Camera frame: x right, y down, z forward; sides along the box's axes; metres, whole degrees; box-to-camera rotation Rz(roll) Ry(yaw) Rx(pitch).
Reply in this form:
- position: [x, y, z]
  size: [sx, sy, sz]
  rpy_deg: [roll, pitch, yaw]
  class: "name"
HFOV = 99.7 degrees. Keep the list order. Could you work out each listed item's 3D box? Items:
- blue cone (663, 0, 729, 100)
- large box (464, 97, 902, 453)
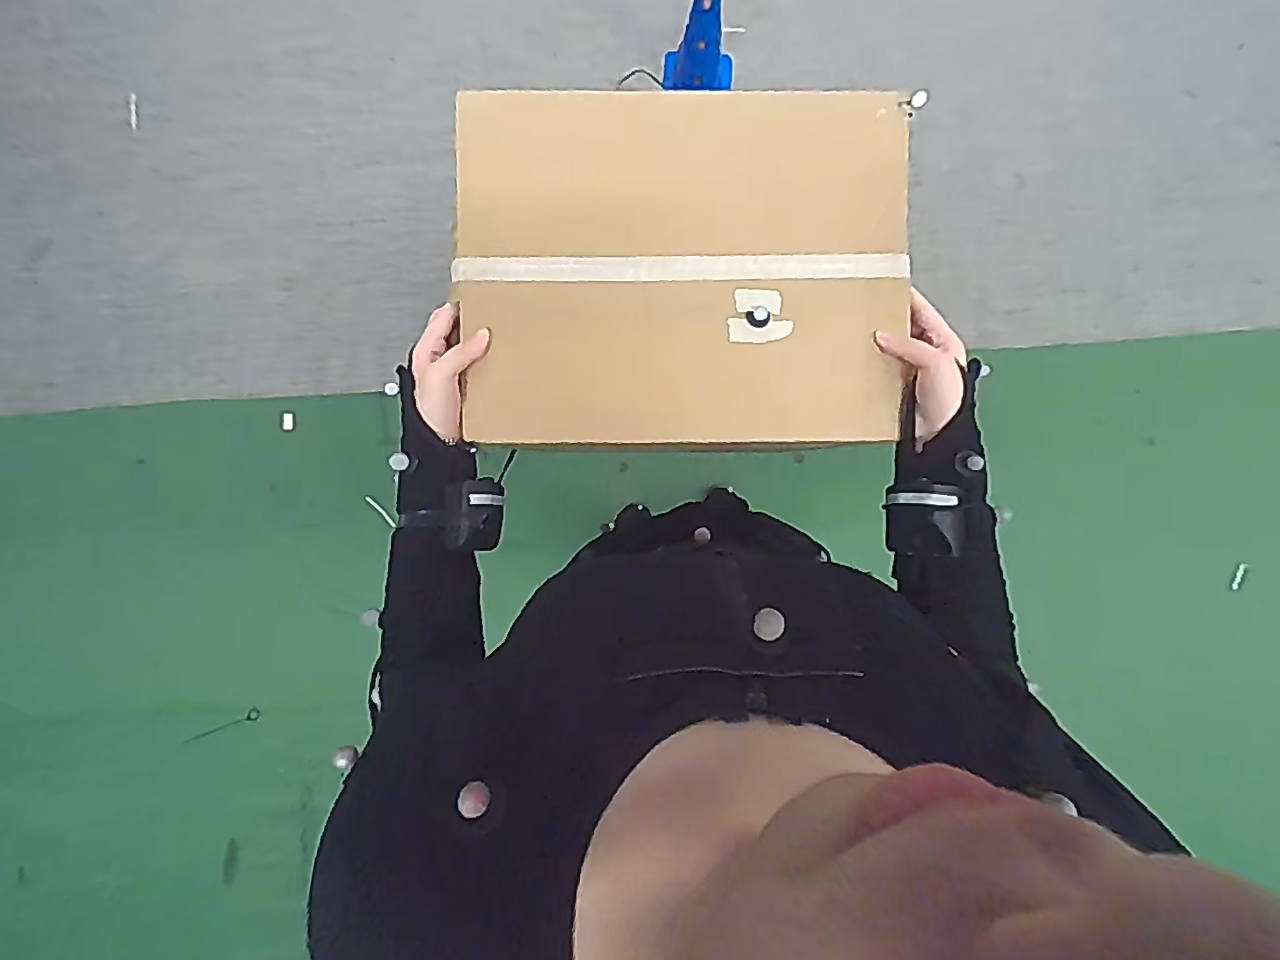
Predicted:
- position: [0.163, -1.142, 1.419]
  size: [0.193, 0.380, 0.192]
  rpy_deg: [5, 87, 1]
  class: "blue cone"
- position: [0.037, -0.197, 0.643]
  size: [0.408, 0.320, 0.320]
  rpy_deg: [-1, 92, -2]
  class: "large box"
